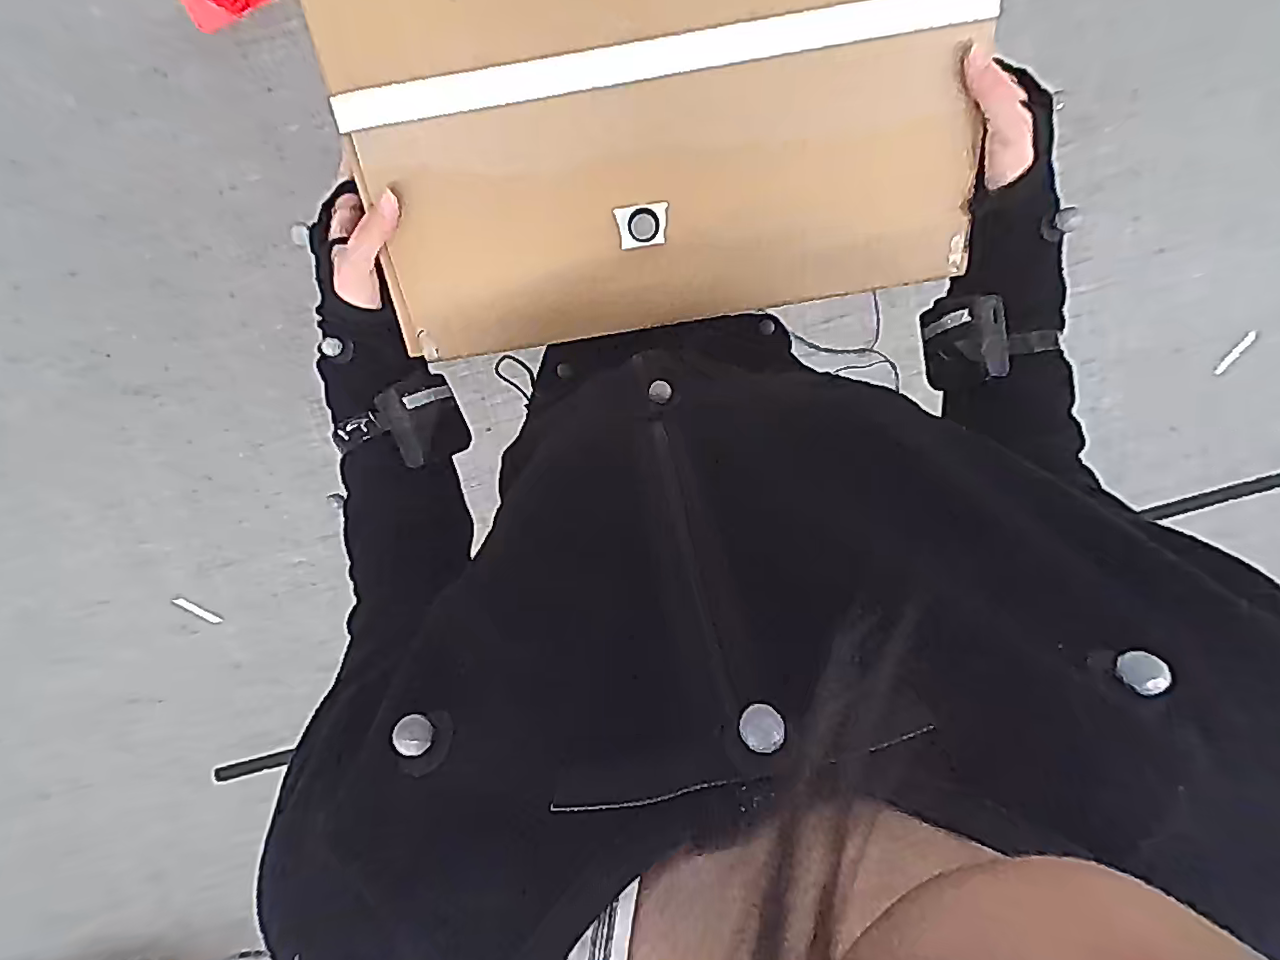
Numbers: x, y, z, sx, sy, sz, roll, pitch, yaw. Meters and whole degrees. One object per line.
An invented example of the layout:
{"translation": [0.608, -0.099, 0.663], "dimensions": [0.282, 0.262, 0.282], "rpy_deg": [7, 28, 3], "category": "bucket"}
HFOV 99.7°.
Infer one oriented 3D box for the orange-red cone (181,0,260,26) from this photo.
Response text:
{"translation": [-0.846, -0.993, 0.911], "dimensions": [0.199, 0.360, 0.198], "rpy_deg": [-23, 106, 5], "category": "orange-red cone"}
